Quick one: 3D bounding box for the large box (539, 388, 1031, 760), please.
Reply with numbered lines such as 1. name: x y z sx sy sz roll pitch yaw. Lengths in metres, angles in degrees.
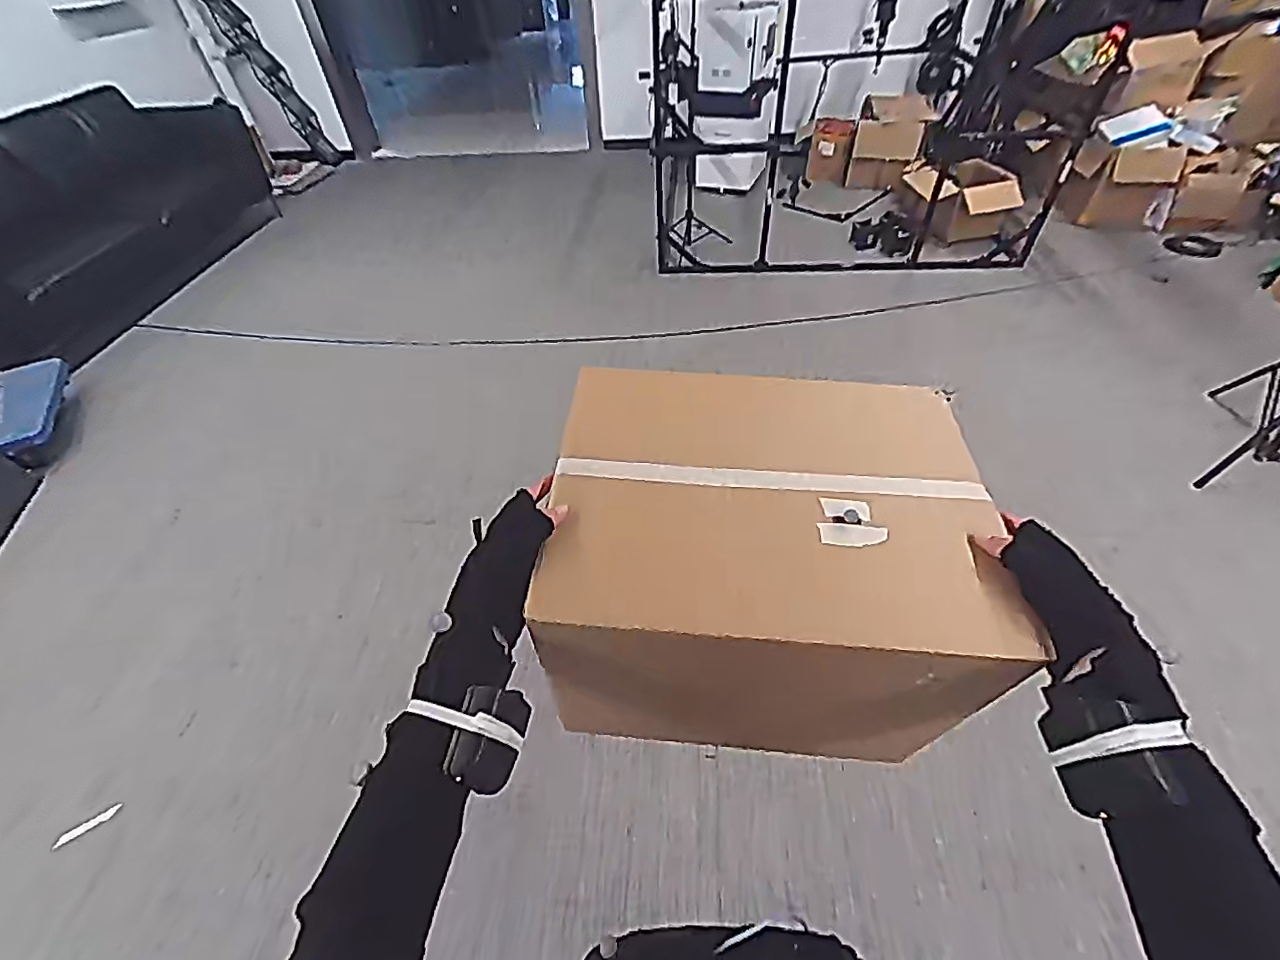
1. large box: 0.120 0.115 0.640 0.408 0.320 0.320 4 50 3
